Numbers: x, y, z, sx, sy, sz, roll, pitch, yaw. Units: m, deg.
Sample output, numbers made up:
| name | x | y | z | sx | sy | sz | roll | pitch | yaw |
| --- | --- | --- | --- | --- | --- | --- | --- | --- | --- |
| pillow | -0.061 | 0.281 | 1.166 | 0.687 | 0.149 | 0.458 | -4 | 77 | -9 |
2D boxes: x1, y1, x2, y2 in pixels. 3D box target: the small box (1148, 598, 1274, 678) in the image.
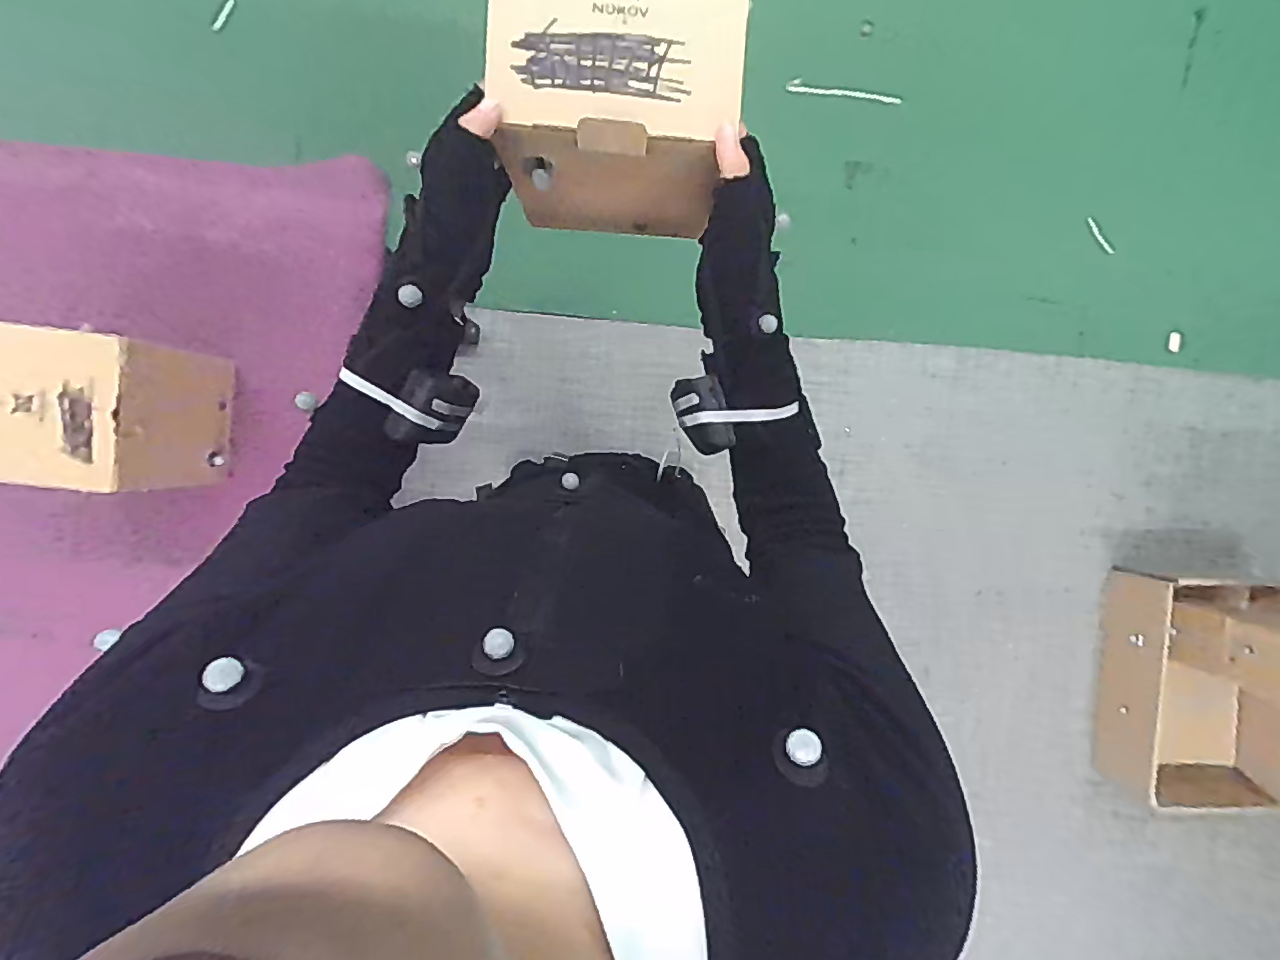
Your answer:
| name | x | y | z | sx | sy | sz | roll | pitch | yaw |
| --- | --- | --- | --- | --- | --- | --- | --- | --- | --- |
| small box | 1.539 | 0.423 | 1.454 | 0.179 | 0.176 | 0.168 | 4 | 94 | -4 |

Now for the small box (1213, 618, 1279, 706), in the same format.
| name | x | y | z | sx | sy | sz | roll | pitch | yaw |
| --- | --- | --- | --- | --- | --- | --- | --- | --- | --- |
| small box | 1.551 | 0.435 | 1.293 | 0.179 | 0.176 | 0.168 | 2 | 94 | -4 |

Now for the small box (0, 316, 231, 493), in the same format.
| name | x | y | z | sx | sy | sz | roll | pitch | yaw |
| --- | --- | --- | --- | --- | --- | --- | --- | --- | --- |
| small box | -0.630 | -0.084 | 0.635 | 0.179 | 0.176 | 0.168 | 9 | 92 | -4 |
